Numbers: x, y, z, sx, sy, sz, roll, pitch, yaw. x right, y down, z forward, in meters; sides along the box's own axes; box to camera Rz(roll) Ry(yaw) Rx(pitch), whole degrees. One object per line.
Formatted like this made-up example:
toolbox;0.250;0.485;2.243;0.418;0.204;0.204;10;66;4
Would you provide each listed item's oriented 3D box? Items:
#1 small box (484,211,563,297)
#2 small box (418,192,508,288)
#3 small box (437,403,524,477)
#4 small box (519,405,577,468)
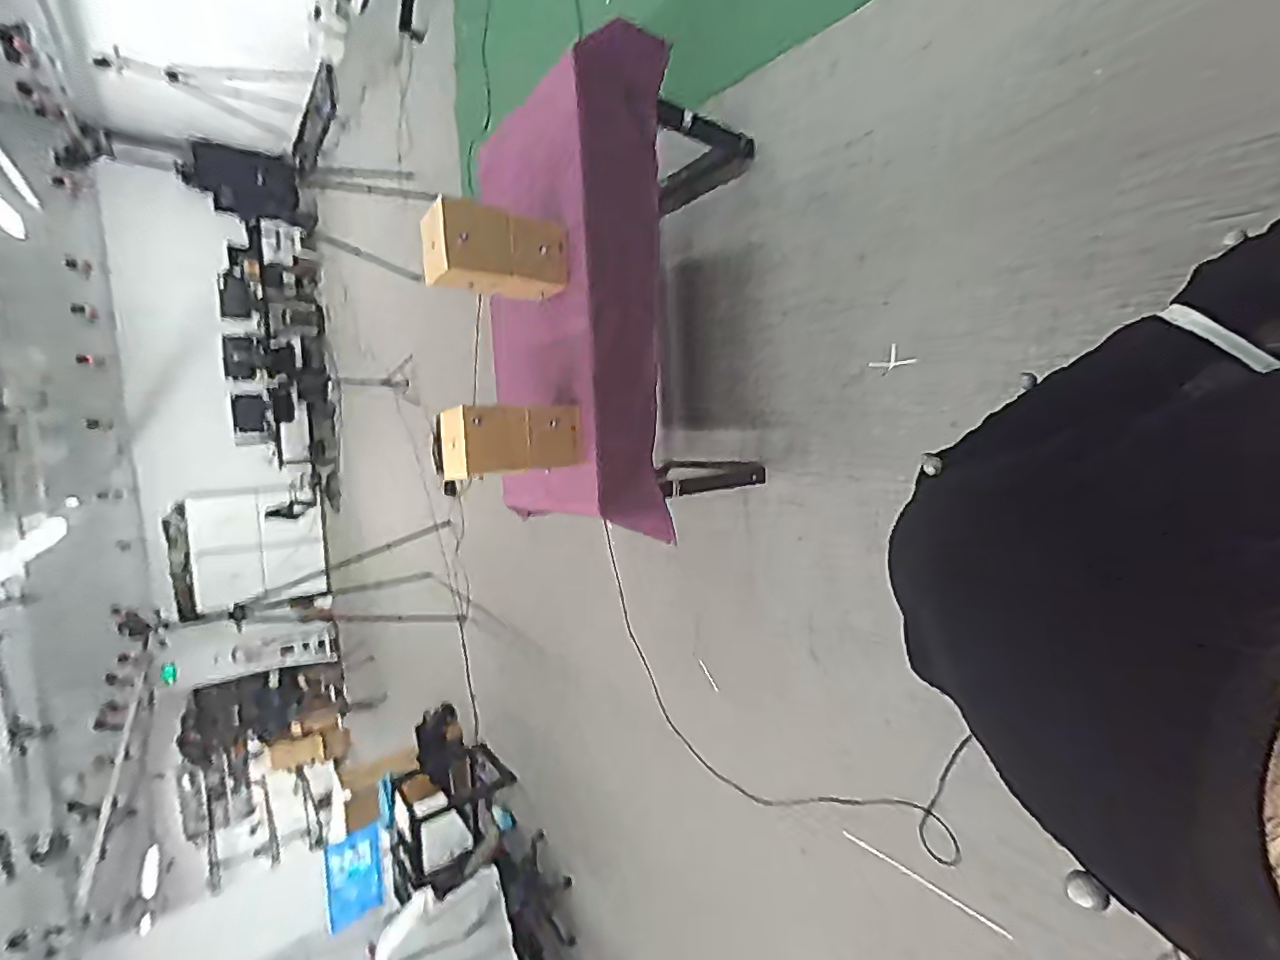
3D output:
small box;-0.320;-0.609;1.478;0.179;0.176;0.168;3;97;50
small box;-0.446;-0.597;1.372;0.168;0.176;0.179;2;97;51
small box;-0.410;-0.103;1.402;0.168;0.176;0.179;-2;91;51
small box;-0.284;-0.121;1.503;0.179;0.176;0.168;1;95;51
